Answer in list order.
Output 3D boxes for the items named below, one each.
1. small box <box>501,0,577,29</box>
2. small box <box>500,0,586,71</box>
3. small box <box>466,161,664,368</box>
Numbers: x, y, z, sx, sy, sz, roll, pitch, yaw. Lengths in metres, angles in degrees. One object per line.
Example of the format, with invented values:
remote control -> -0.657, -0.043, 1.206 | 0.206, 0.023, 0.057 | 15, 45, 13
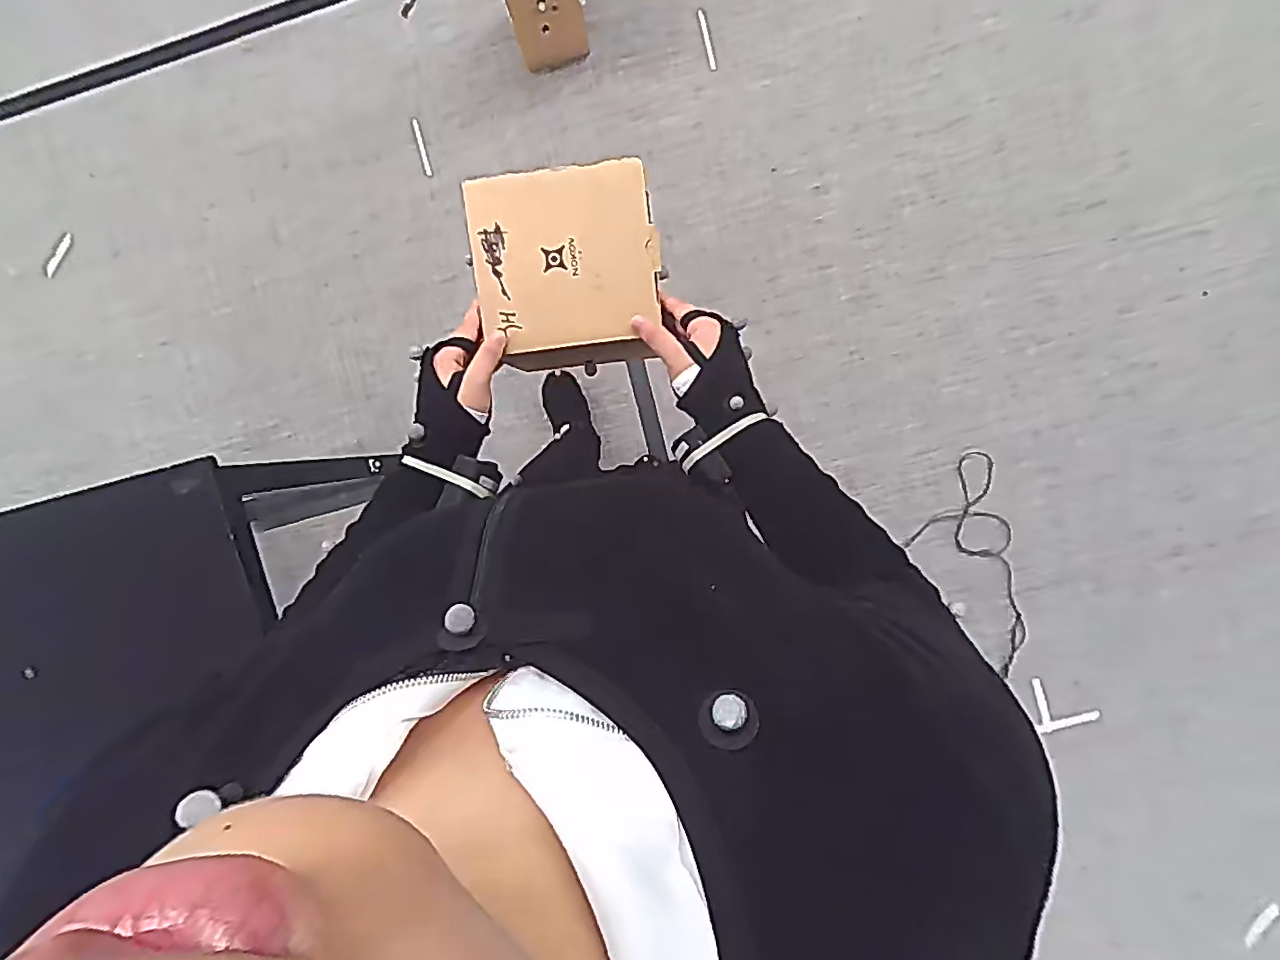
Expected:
small box -> -0.245, -1.145, 1.174 | 0.168, 0.176, 0.179 | -14, 95, 3
small box -> -0.244, -1.163, 1.337 | 0.179, 0.176, 0.168 | -14, 94, 2
small box -> -0.072, -0.221, 0.595 | 0.179, 0.176, 0.168 | -6, 96, 1
